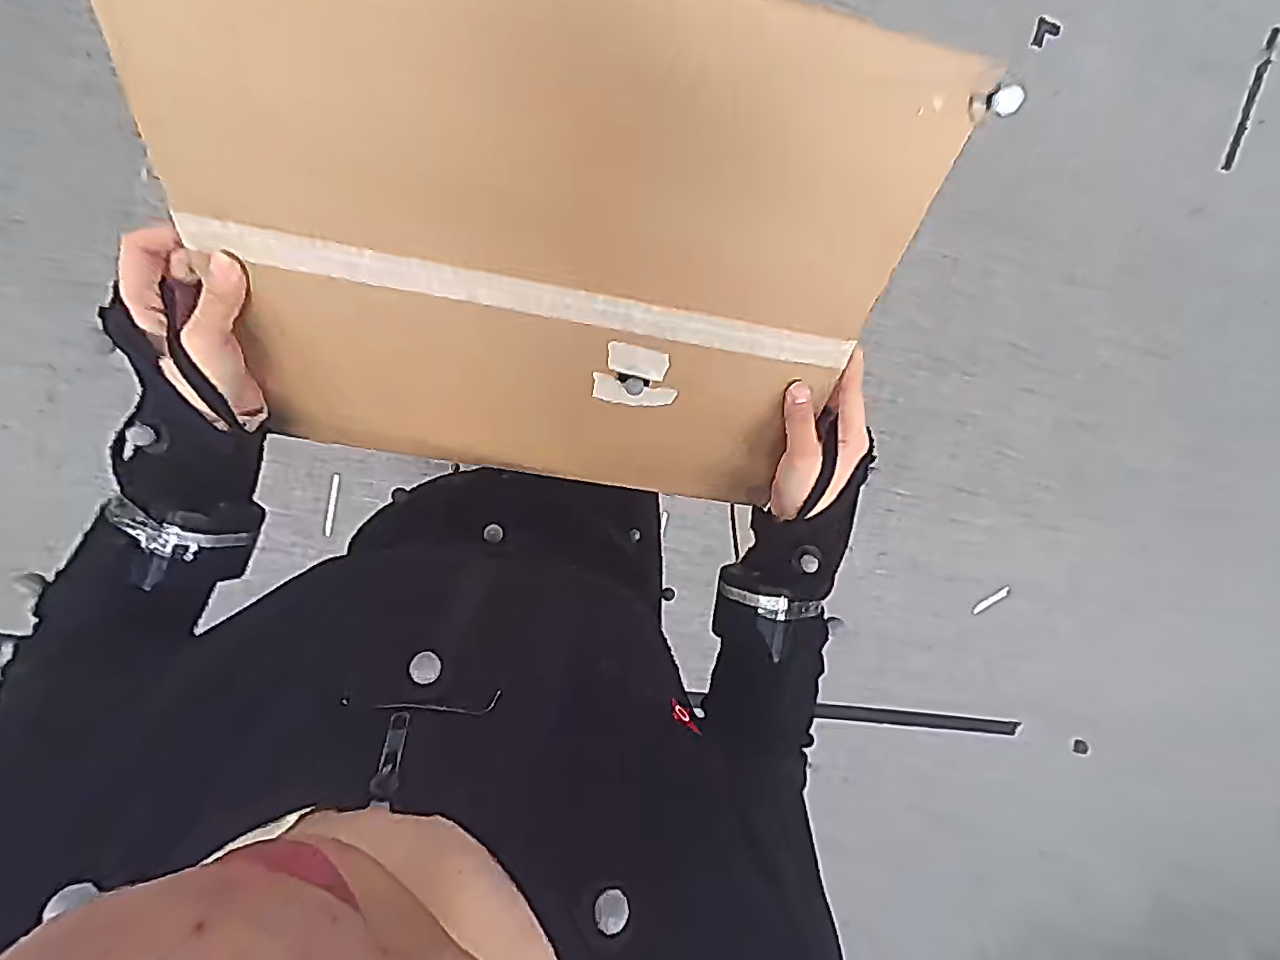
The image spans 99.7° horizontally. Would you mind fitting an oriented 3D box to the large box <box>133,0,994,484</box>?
[{"bbox_3d":[-0.054,-0.230,0.439,0.408,0.320,0.320,7,135,-8],"label":"large box"}]
